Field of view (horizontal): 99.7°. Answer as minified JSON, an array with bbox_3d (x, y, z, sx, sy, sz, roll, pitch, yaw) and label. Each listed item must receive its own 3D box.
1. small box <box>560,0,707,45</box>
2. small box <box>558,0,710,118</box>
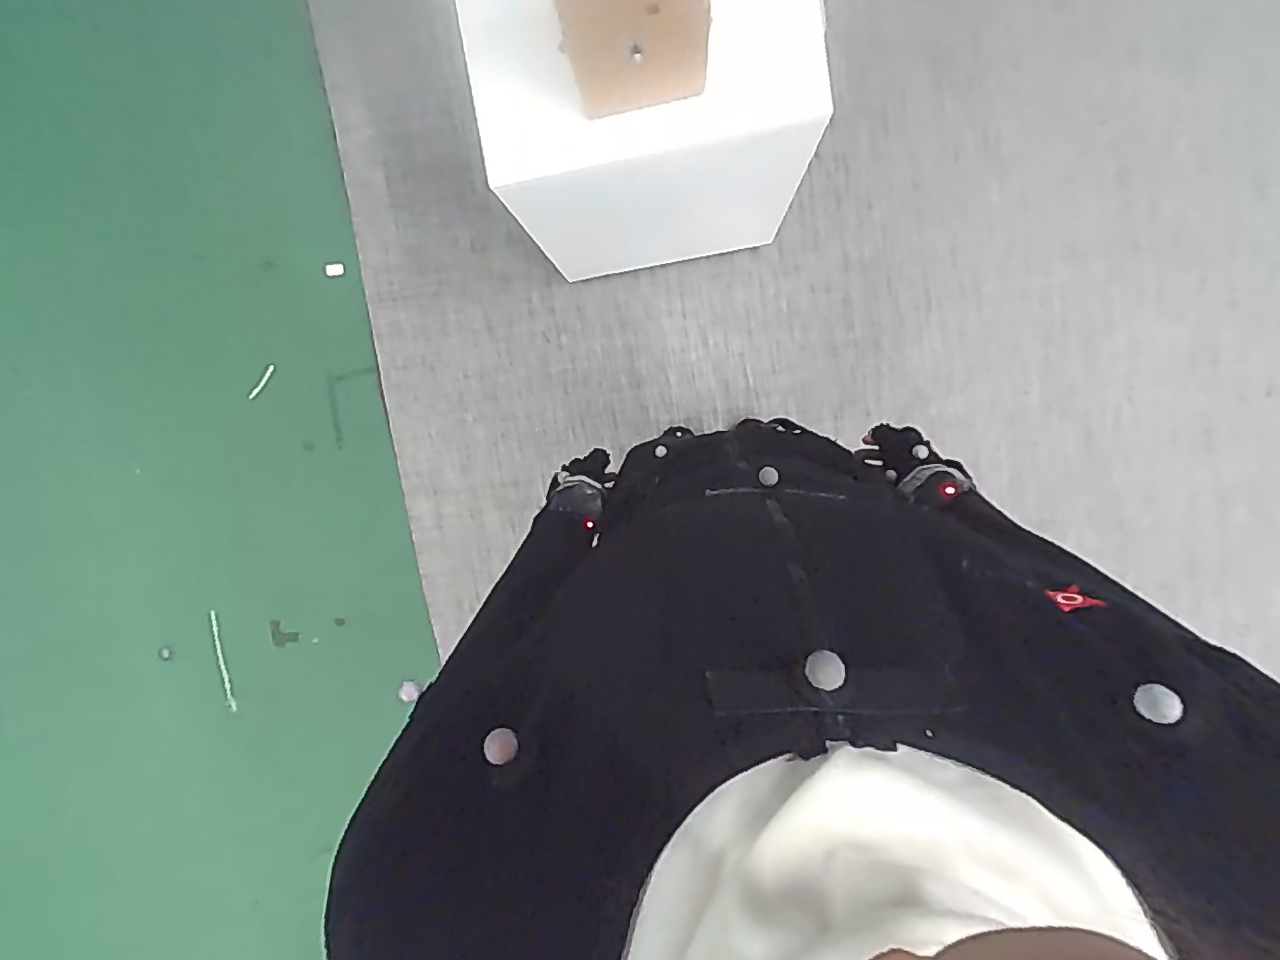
[{"bbox_3d":[-0.020,-0.597,0.542,0.168,0.176,0.179,-10,96,5],"label":"small box"},{"bbox_3d":[-0.008,-0.610,0.702,0.179,0.176,0.168,-9,95,5],"label":"small box"}]
